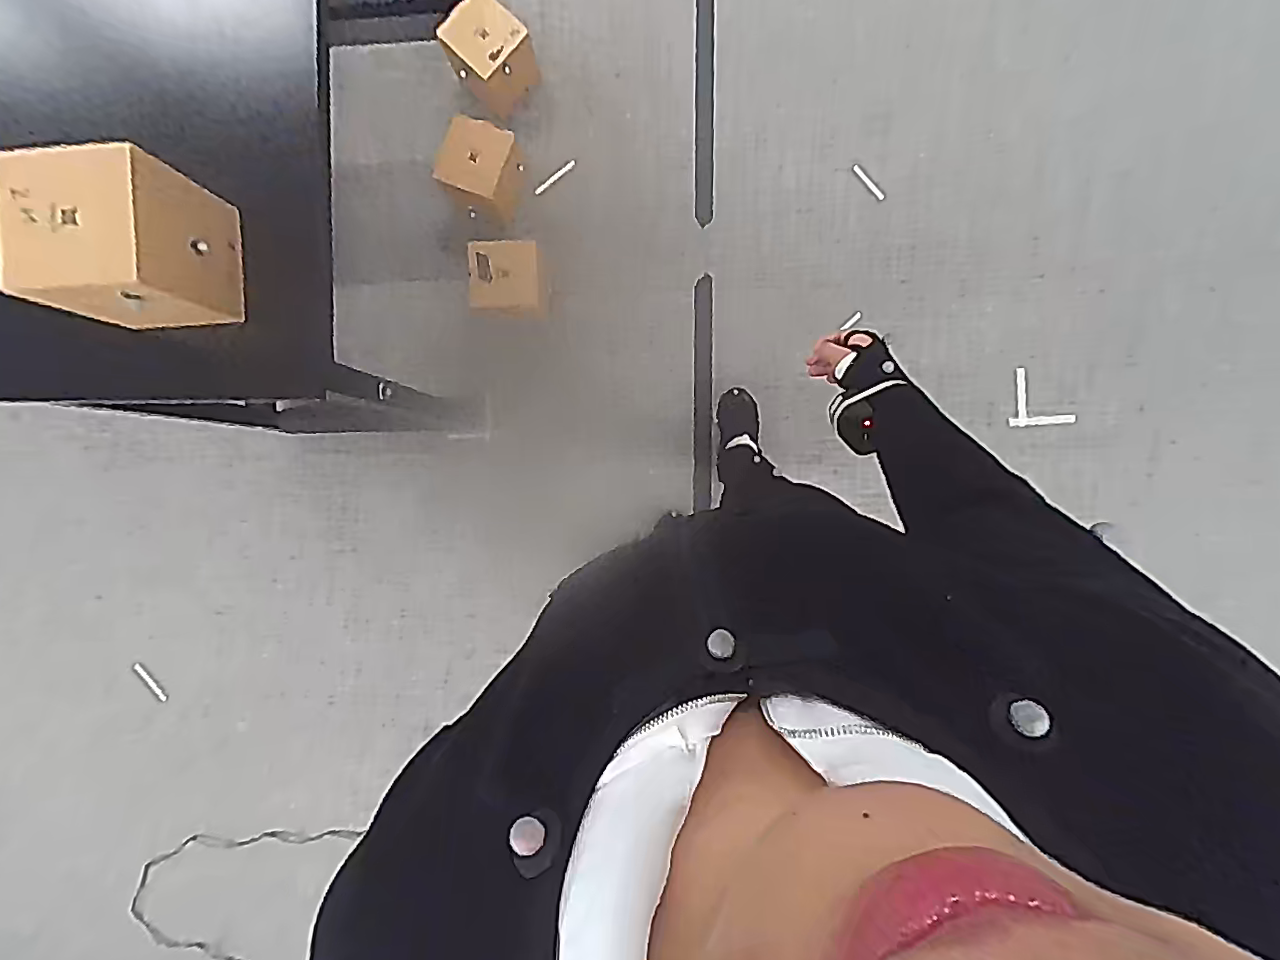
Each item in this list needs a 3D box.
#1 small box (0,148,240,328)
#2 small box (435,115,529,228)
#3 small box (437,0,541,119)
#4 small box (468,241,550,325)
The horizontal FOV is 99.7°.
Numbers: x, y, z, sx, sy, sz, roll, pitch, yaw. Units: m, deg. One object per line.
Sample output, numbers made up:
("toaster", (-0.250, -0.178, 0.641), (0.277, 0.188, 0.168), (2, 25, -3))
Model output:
("small box", (-0.672, -0.308, 0.721), (0.179, 0.176, 0.168), (-3, 90, 3))
("small box", (-0.410, -0.809, 1.434), (0.168, 0.176, 0.179), (20, 93, 3))
("small box", (-0.390, -1.112, 1.425), (0.179, 0.176, 0.168), (43, 93, 1))
("small box", (-0.342, -0.516, 1.435), (0.179, 0.176, 0.168), (-1, 91, 1))
